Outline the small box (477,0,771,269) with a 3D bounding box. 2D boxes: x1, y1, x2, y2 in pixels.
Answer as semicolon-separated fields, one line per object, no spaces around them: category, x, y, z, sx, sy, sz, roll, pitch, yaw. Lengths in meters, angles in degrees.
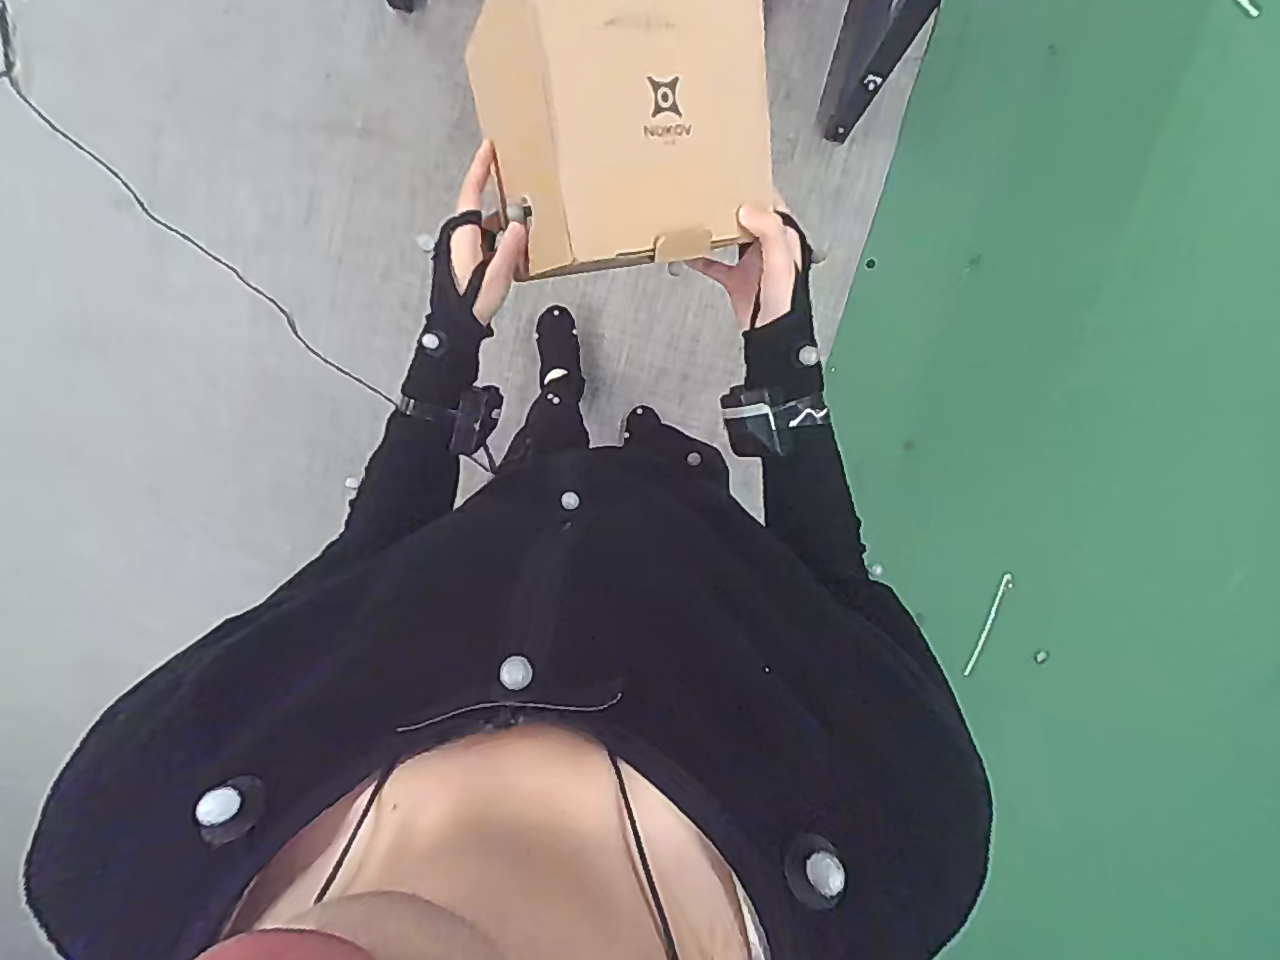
small box;-0.017;-0.265;0.423;0.168;0.176;0.179;-16;112;-22
